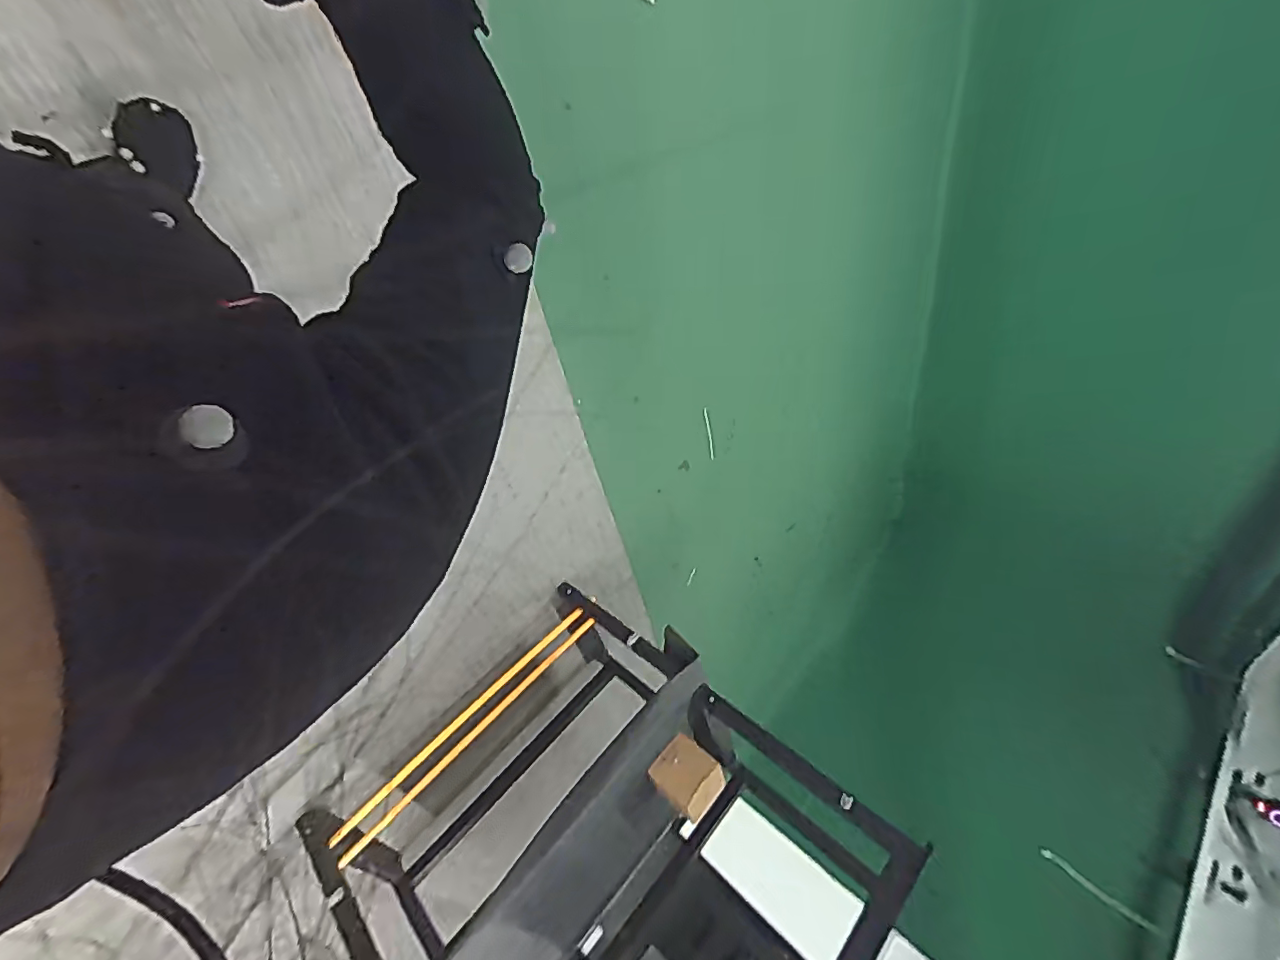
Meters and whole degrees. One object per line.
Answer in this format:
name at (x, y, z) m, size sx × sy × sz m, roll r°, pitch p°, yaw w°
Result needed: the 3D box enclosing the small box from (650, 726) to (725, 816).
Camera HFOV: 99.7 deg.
small box at (0.155, 0.946, 1.770) m, size 0.168 × 0.176 × 0.179 m, roll -41°, pitch 136°, yaw -26°
